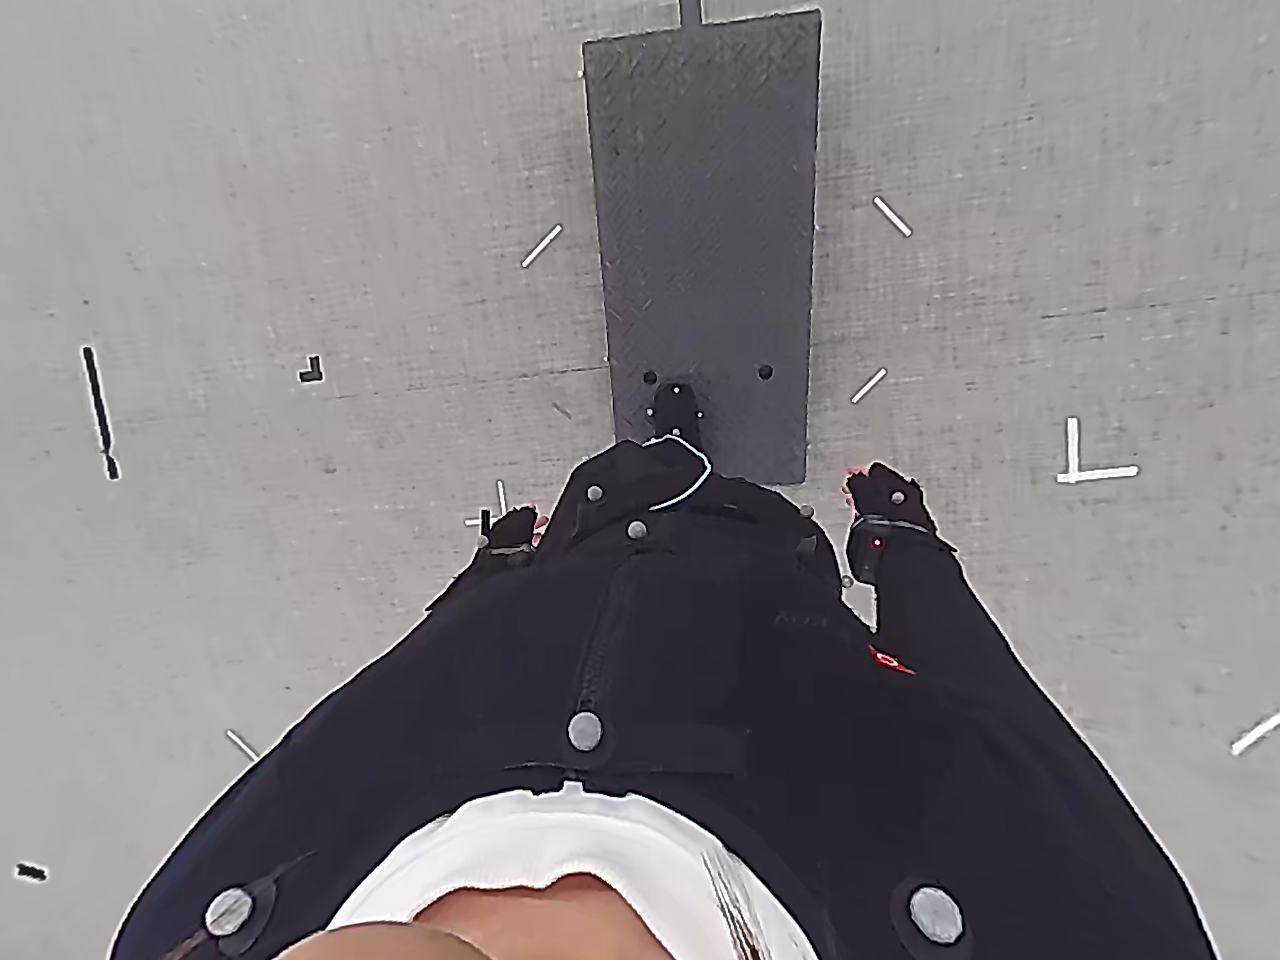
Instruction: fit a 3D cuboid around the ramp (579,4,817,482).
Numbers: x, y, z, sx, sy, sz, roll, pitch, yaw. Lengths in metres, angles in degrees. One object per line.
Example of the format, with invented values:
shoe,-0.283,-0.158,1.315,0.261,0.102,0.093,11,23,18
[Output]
ramp,0.152,-0.470,1.272,0.509,0.206,0.991,-3,100,7
